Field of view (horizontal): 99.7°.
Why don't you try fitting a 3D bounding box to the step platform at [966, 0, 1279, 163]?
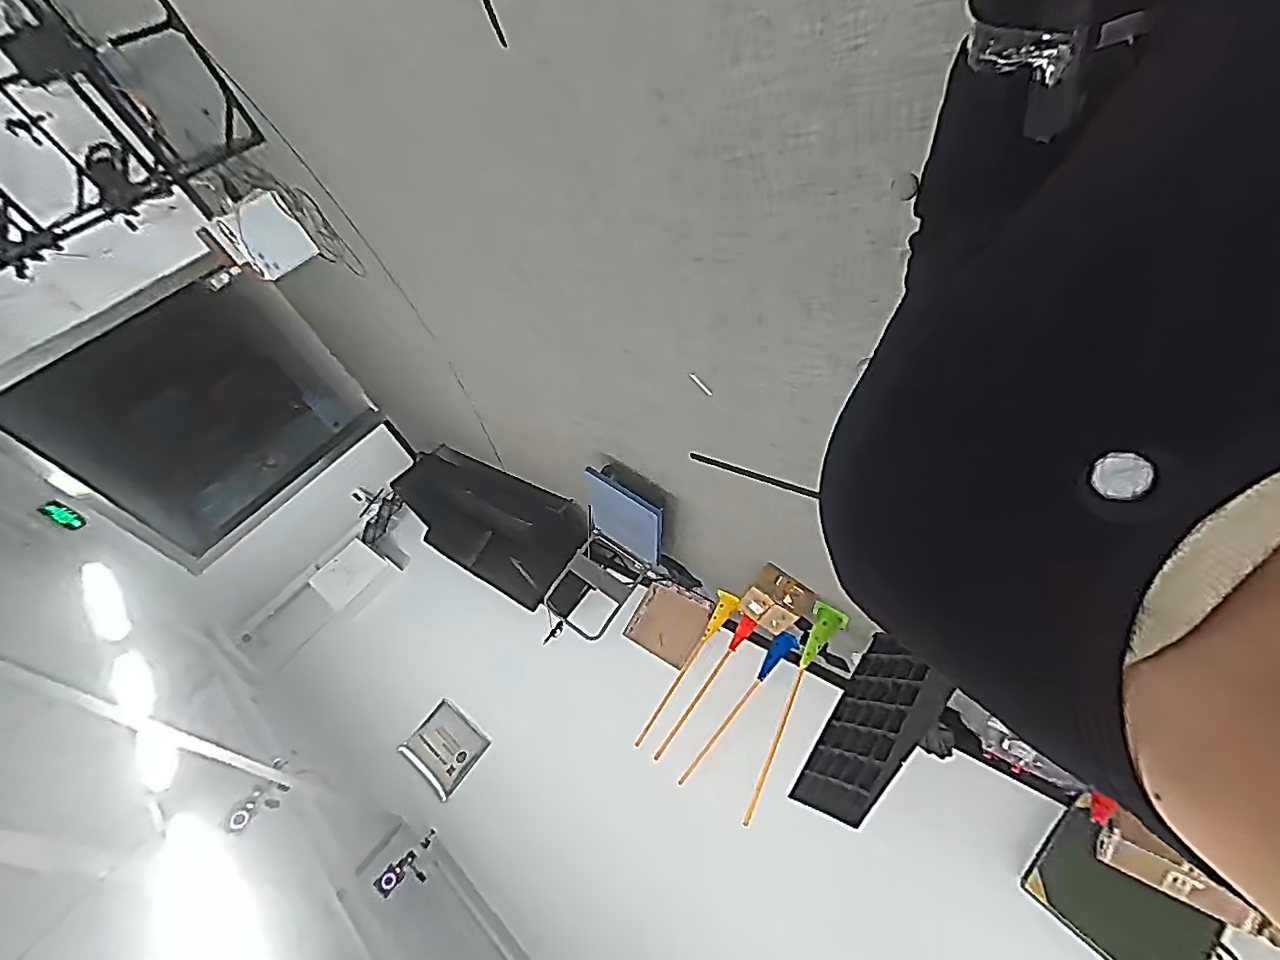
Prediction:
[{"bbox_3d":[0.890,-0.660,0.809,0.684,0.204,0.286,25,152,33],"label":"step platform"}]
